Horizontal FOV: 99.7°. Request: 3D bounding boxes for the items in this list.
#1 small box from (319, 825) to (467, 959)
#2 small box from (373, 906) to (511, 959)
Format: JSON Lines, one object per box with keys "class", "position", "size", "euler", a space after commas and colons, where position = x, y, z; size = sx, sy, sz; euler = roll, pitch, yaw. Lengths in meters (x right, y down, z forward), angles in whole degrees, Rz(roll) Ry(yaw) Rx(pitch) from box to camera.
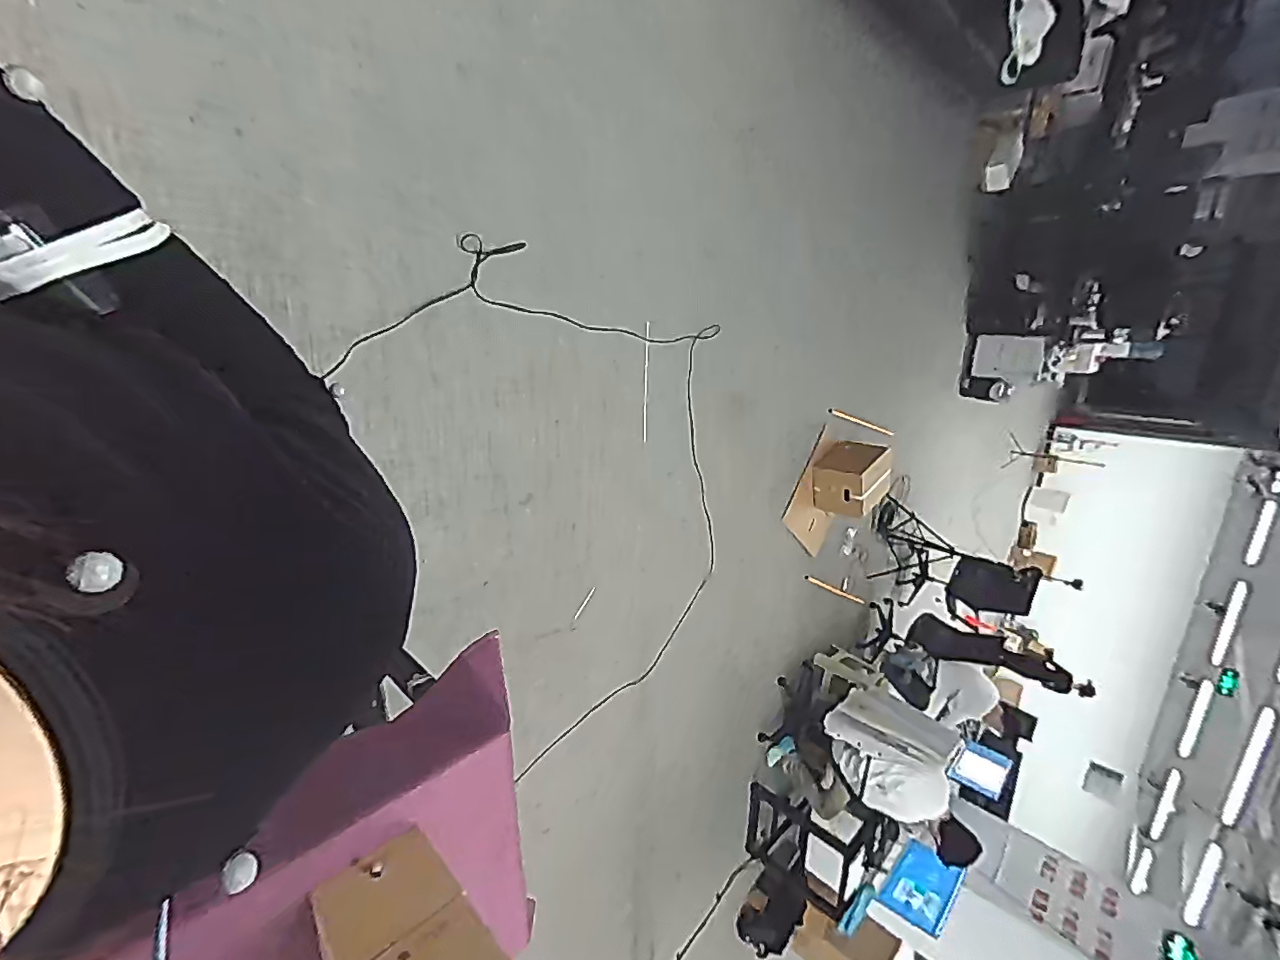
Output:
{"class": "small box", "position": [-0.393, 0.710, 0.863], "size": [0.179, 0.176, 0.168], "euler": [-14, 113, -42]}
{"class": "small box", "position": [-0.279, 0.751, 0.753], "size": [0.168, 0.176, 0.179], "euler": [-12, 111, -43]}
